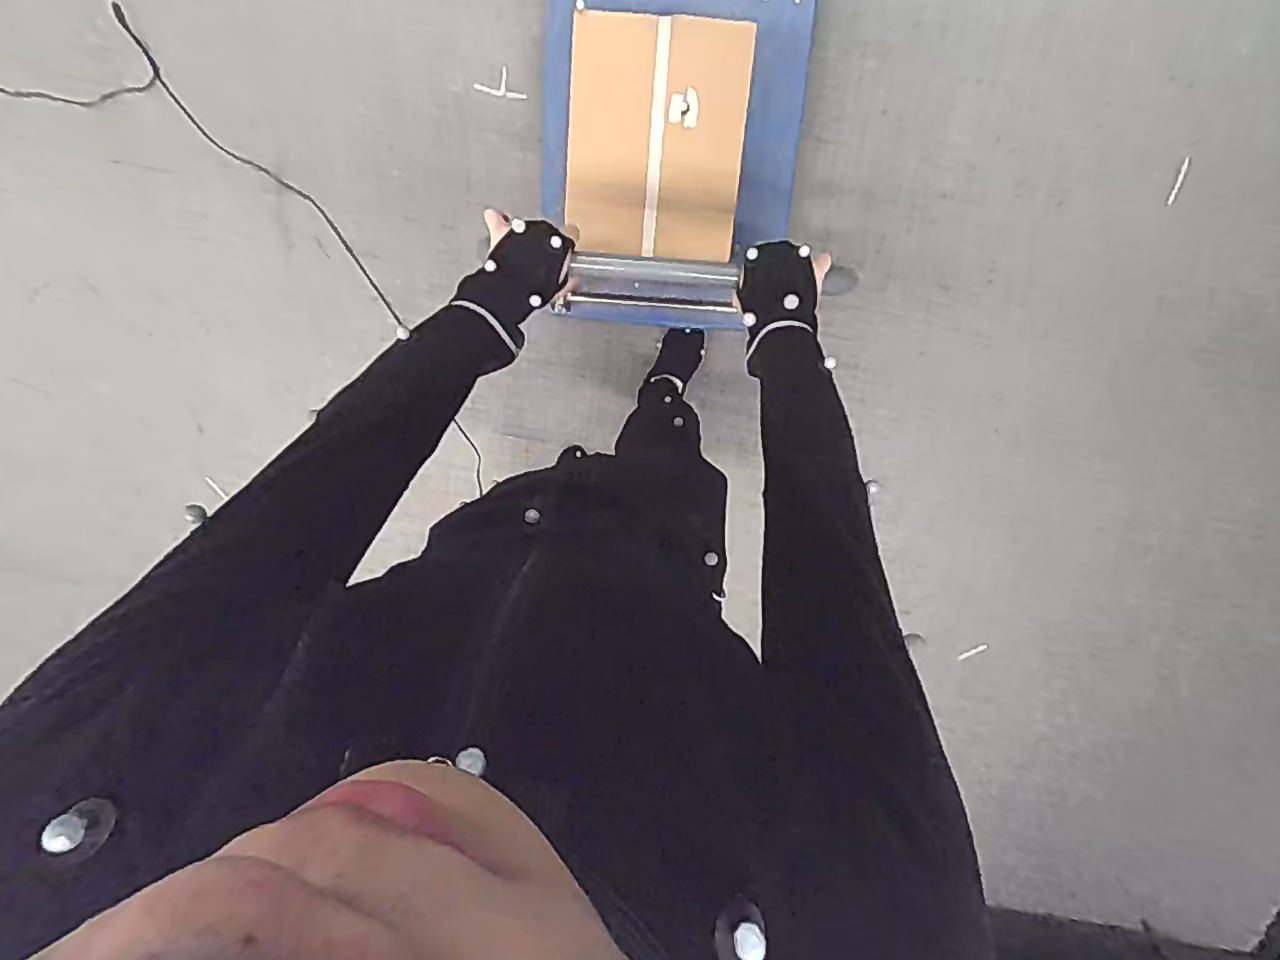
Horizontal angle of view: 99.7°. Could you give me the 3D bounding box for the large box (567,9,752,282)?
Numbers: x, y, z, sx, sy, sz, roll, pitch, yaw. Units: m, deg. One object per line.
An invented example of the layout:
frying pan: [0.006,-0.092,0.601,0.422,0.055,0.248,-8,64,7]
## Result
large box: [0.034,-0.642,1.119,0.320,0.320,0.408,5,104,0]
